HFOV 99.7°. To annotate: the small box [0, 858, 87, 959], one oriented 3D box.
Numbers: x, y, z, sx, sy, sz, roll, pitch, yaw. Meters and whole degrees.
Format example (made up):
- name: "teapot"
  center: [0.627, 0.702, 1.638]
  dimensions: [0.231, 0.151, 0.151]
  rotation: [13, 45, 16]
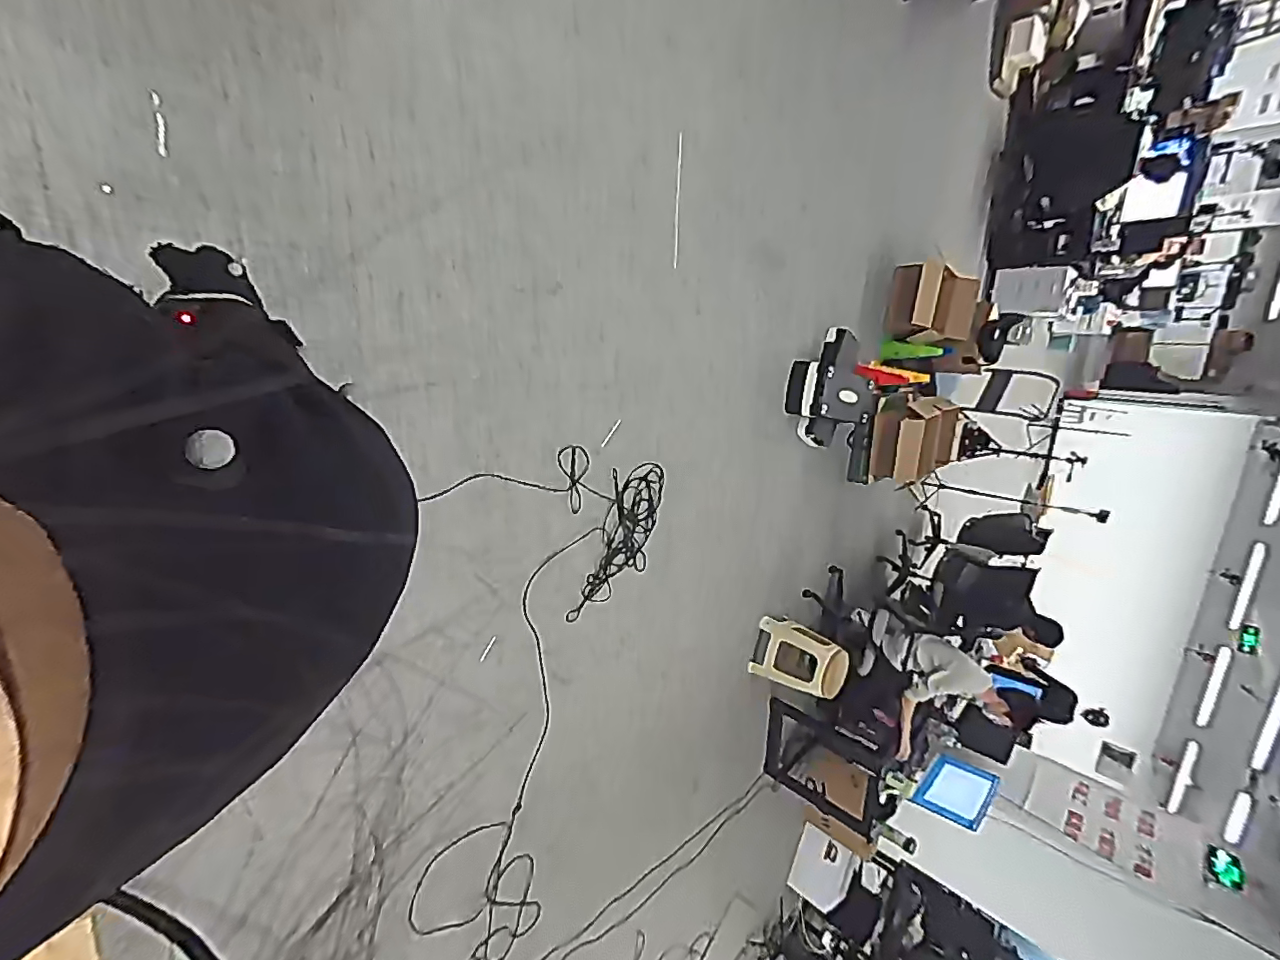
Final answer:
- name: "small box"
  center: [-1.237, 0.921, 1.085]
  dimensions: [0.168, 0.176, 0.179]
  rotation: [-9, 107, -45]
